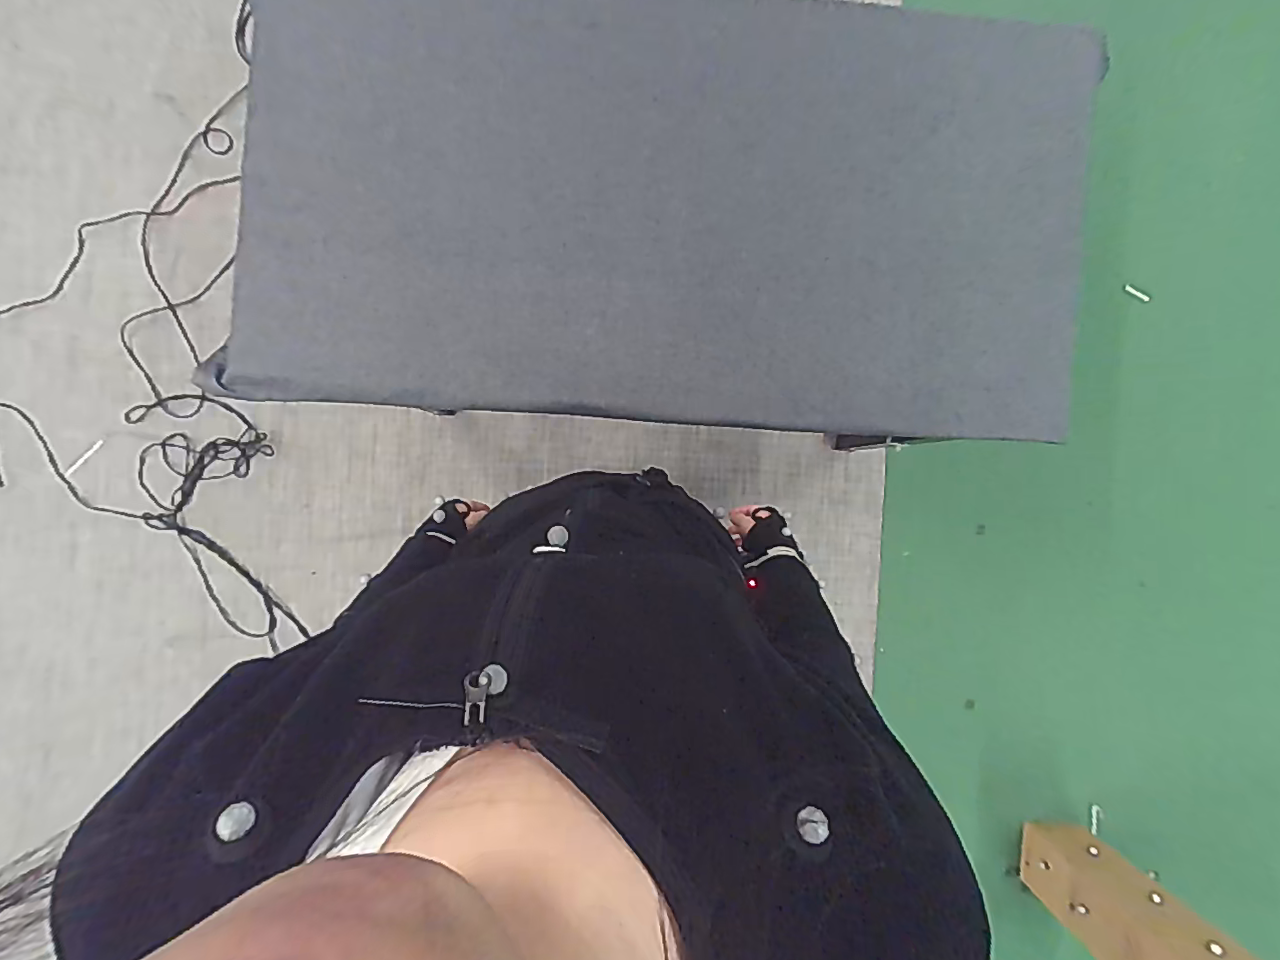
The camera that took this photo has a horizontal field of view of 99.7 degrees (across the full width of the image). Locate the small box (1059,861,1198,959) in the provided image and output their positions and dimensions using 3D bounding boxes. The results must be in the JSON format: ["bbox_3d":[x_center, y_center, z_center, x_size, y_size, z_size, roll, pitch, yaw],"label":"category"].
[{"bbox_3d":[1.164,1.056,1.298,0.179,0.176,0.168,6,90,-2],"label":"small box"}]

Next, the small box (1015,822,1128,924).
[{"bbox_3d":[1.158,1.058,1.463,0.179,0.176,0.168,4,90,-2],"label":"small box"}]
